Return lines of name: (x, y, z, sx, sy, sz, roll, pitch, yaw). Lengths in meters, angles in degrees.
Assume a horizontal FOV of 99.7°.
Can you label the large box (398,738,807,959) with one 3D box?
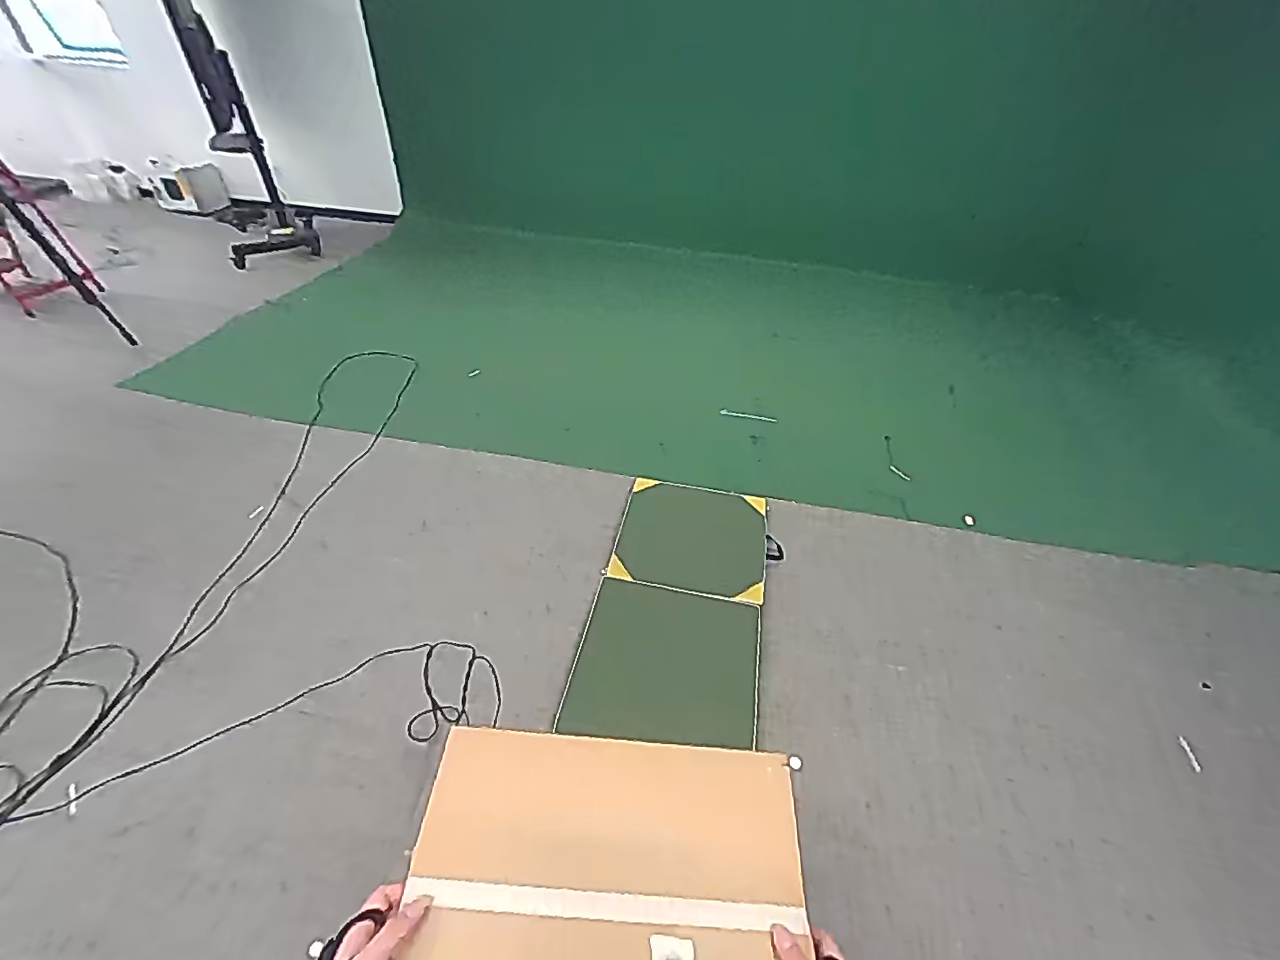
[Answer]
large box: (-0.042, 0.538, 0.656, 0.408, 0.320, 0.320, 5, 47, -1)
